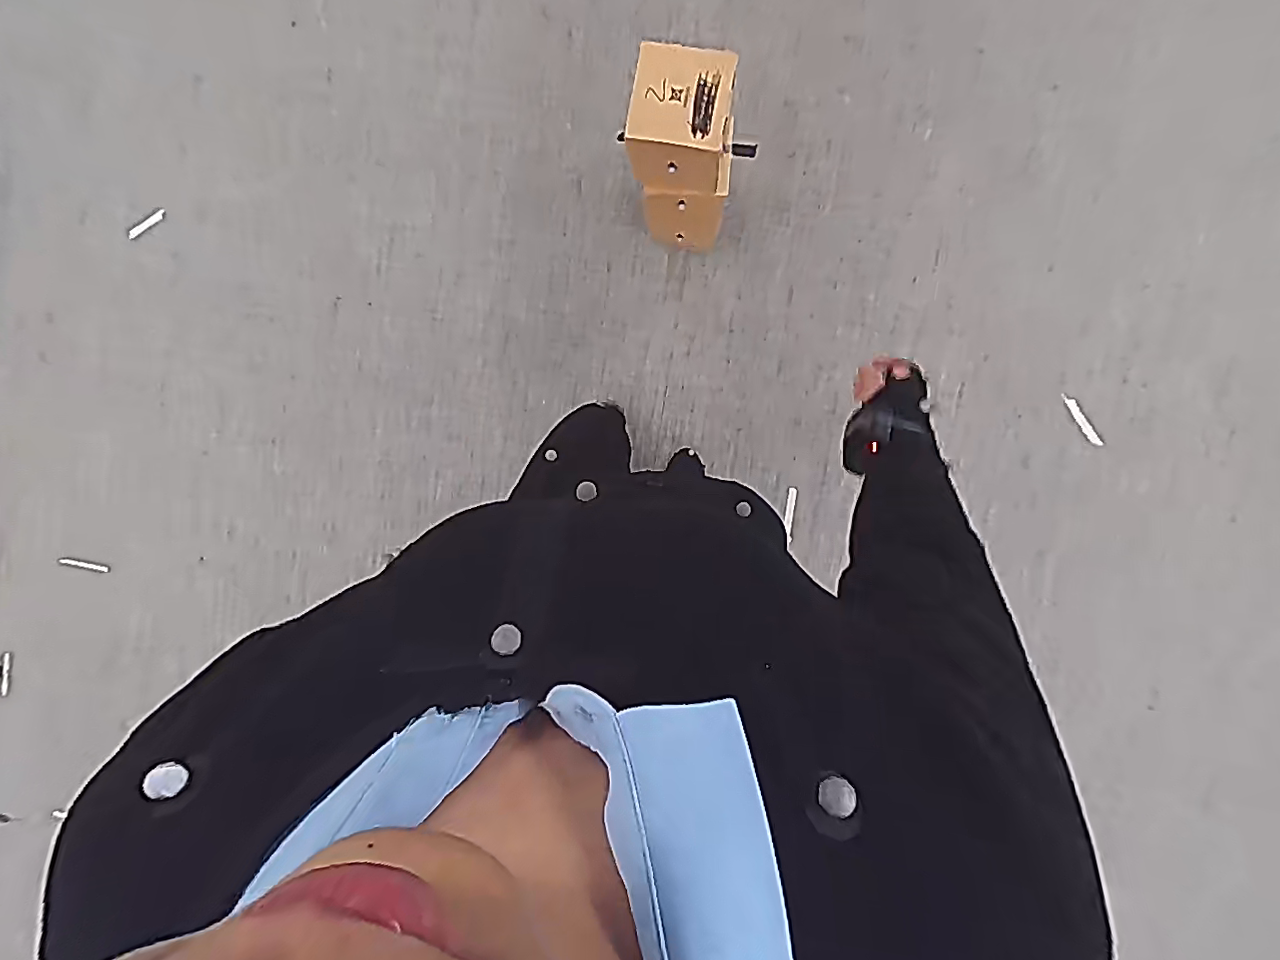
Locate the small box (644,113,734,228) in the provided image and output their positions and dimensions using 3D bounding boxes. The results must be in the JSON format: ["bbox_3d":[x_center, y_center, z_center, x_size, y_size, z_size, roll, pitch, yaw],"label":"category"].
[{"bbox_3d":[0.105,-0.669,1.187,0.179,0.176,0.168,4,94,4],"label":"small box"}]

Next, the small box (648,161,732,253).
[{"bbox_3d":[0.123,-0.690,1.347,0.168,0.176,0.179,13,94,2],"label":"small box"}]
